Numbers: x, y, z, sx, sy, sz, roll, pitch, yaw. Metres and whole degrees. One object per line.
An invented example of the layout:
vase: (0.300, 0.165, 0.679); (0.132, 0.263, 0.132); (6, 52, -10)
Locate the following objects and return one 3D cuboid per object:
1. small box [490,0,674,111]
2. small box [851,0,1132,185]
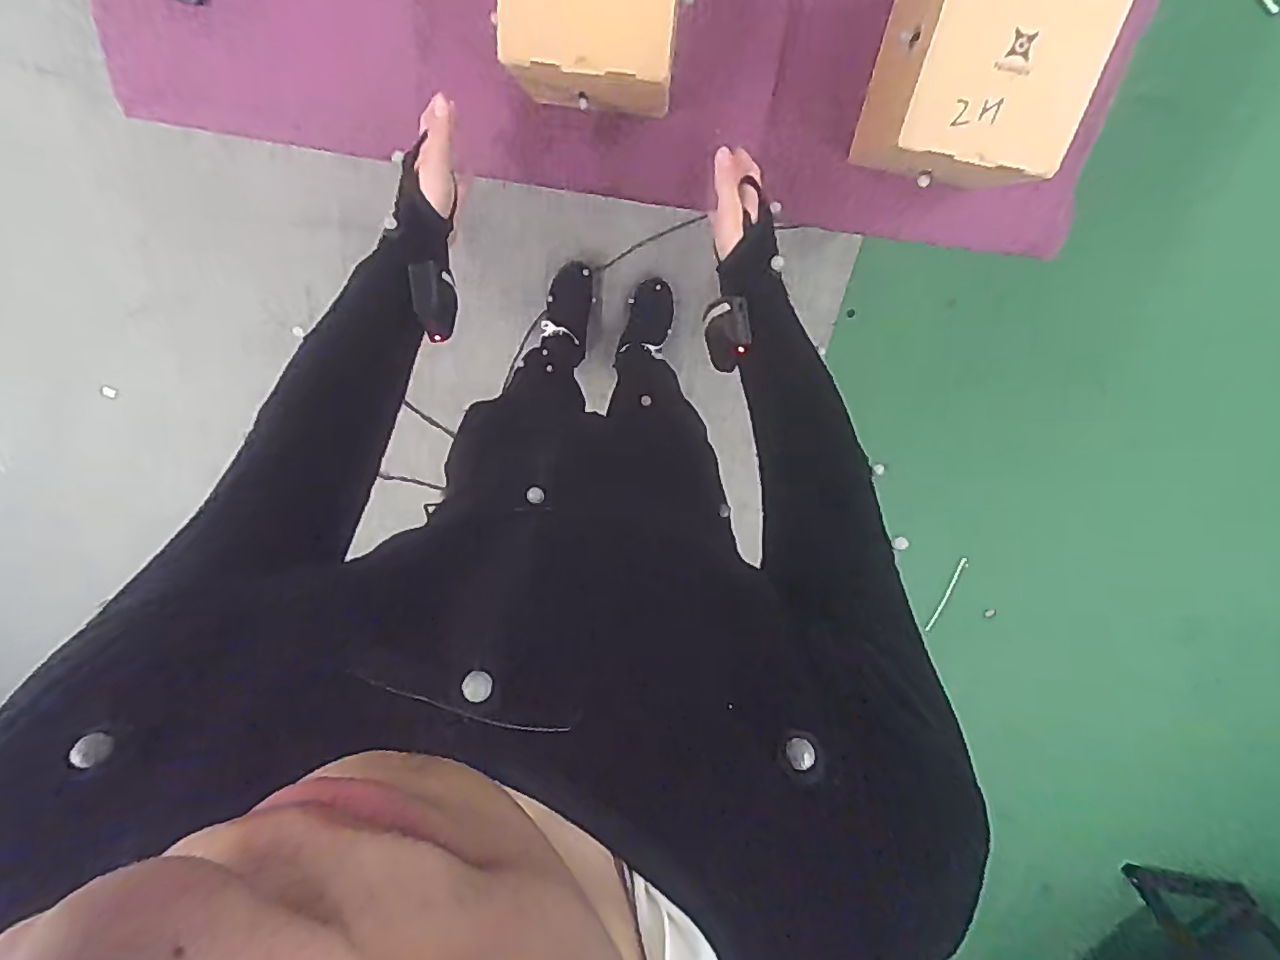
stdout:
small box: (-0.049, -0.500, 0.546); (0.168, 0.176, 0.179); (6, 116, -1)
small box: (0.344, -0.425, 0.563); (0.168, 0.176, 0.179); (11, 116, -1)
